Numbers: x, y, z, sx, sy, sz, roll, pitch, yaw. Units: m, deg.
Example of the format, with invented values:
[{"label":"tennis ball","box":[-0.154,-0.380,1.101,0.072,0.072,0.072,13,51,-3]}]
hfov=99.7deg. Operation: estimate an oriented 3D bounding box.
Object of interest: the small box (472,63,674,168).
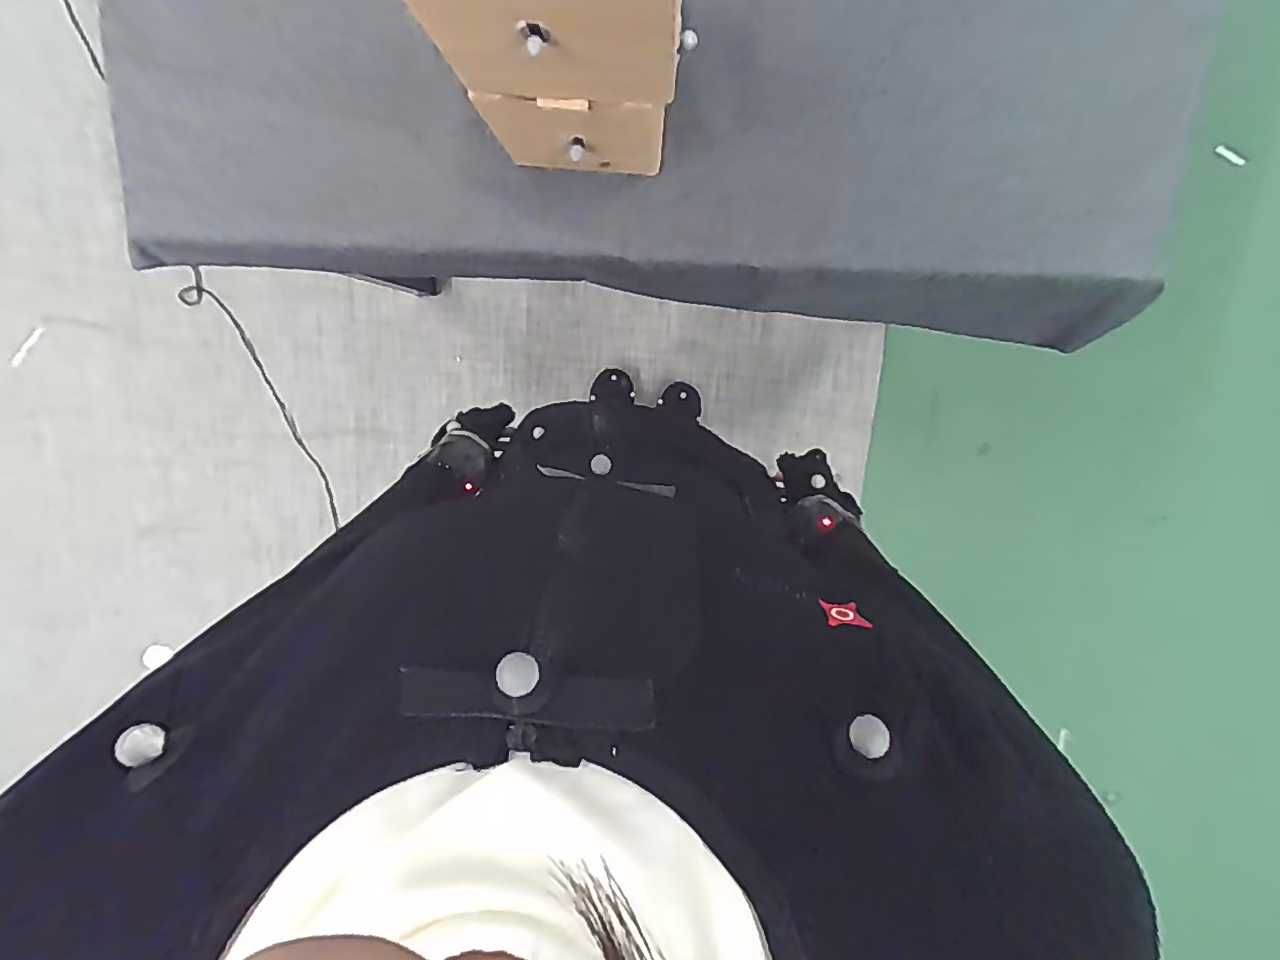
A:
[{"label":"small box","box":[-0.052,-0.421,0.519,0.168,0.176,0.179,4,103,3]}]

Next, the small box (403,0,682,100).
[{"label":"small box","box":[-0.057,-0.383,0.359,0.179,0.176,0.168,4,102,4]}]
